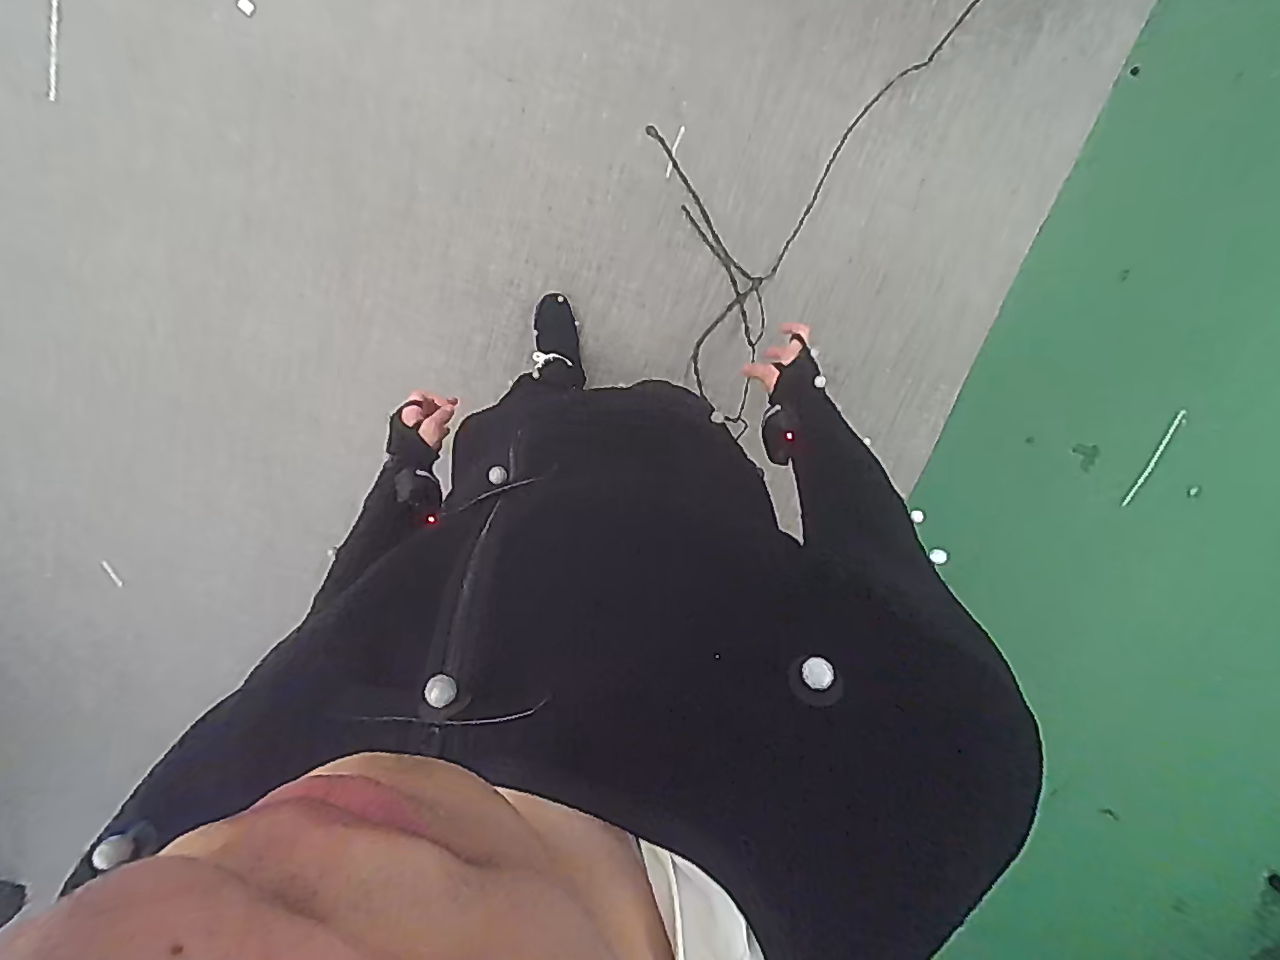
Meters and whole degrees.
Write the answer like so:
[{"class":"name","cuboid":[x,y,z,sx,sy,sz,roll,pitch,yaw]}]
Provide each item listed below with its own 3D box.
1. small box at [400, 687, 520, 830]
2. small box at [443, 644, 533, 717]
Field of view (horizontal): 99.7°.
[{"class":"small box","cuboid":[-0.364,0.569,1.125,0.168,0.176,0.179,24,105,-6]},{"class":"small box","cuboid":[-0.368,0.529,1.285,0.168,0.176,0.179,22,104,-6]}]
